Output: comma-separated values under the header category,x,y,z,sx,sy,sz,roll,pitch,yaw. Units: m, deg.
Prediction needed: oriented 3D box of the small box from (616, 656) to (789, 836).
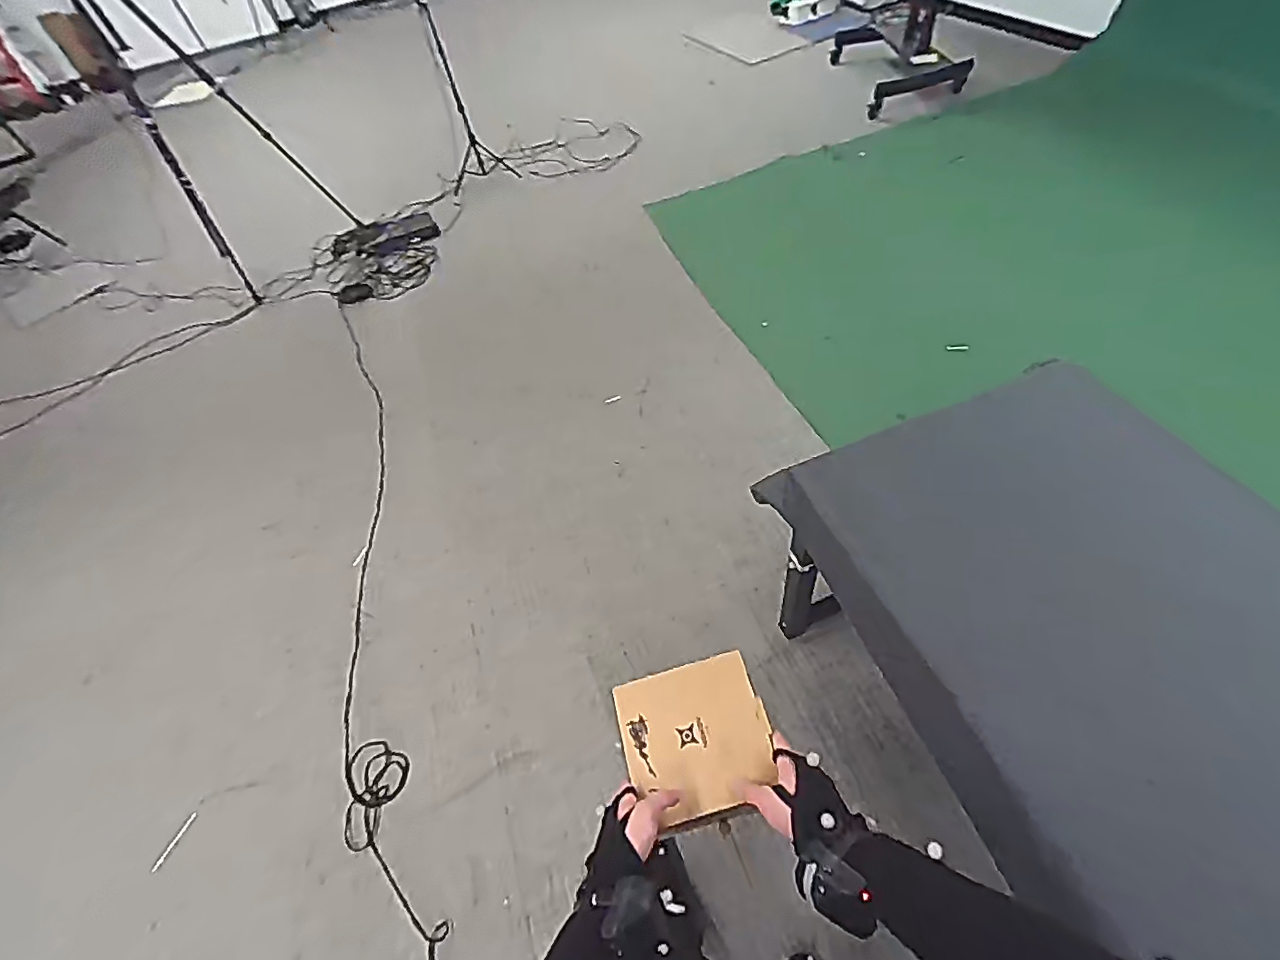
category,x,y,z,sx,sy,sz,roll,pitch,yaw
small box,0.079,0.355,0.715,0.179,0.176,0.168,-16,54,1
